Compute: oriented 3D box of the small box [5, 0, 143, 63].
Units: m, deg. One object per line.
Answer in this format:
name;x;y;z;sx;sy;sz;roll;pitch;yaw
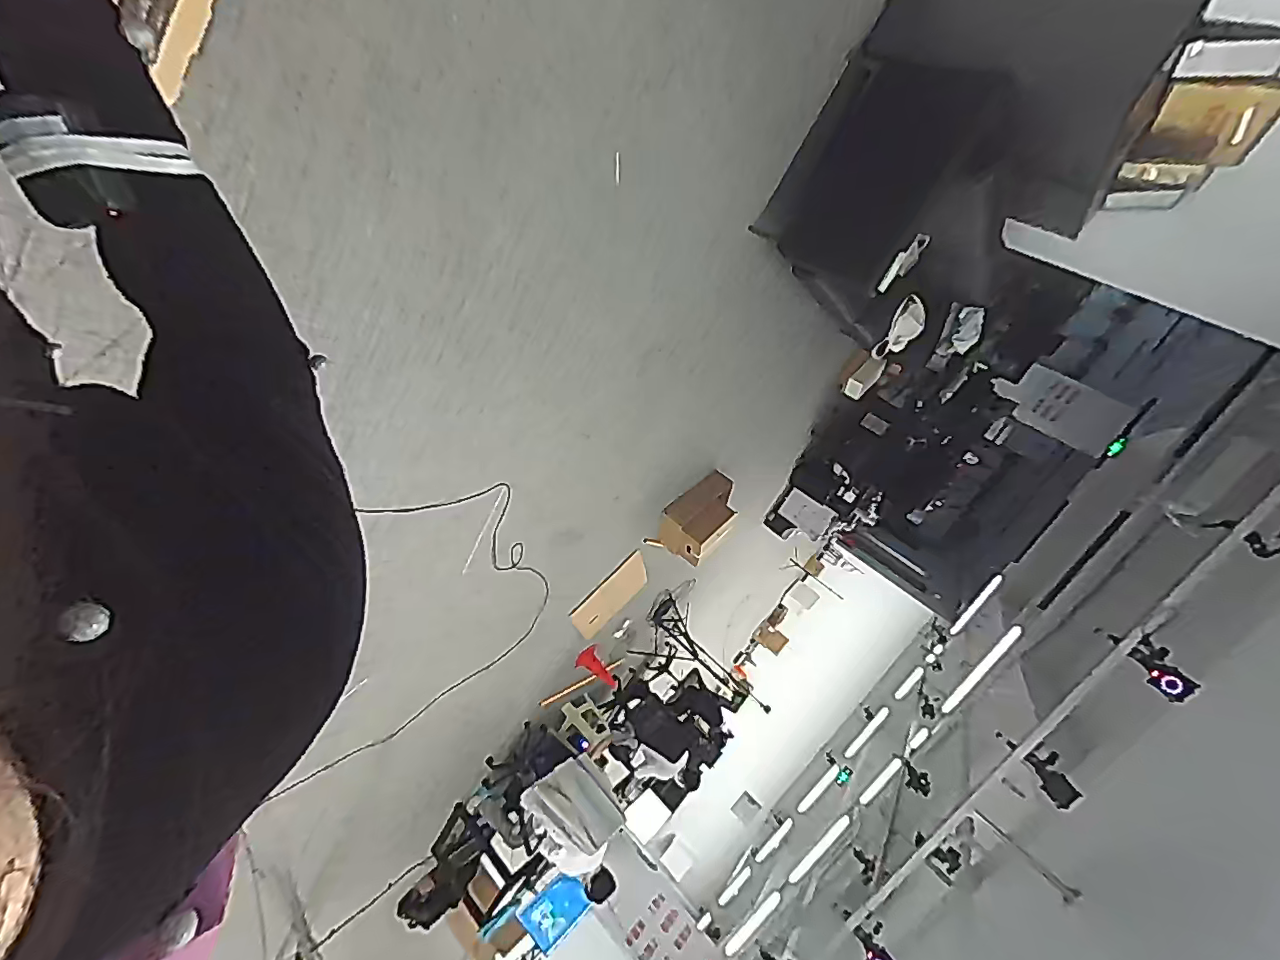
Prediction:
small box;-0.649;-0.597;0.567;0.179;0.176;0.168;-60;154;11
